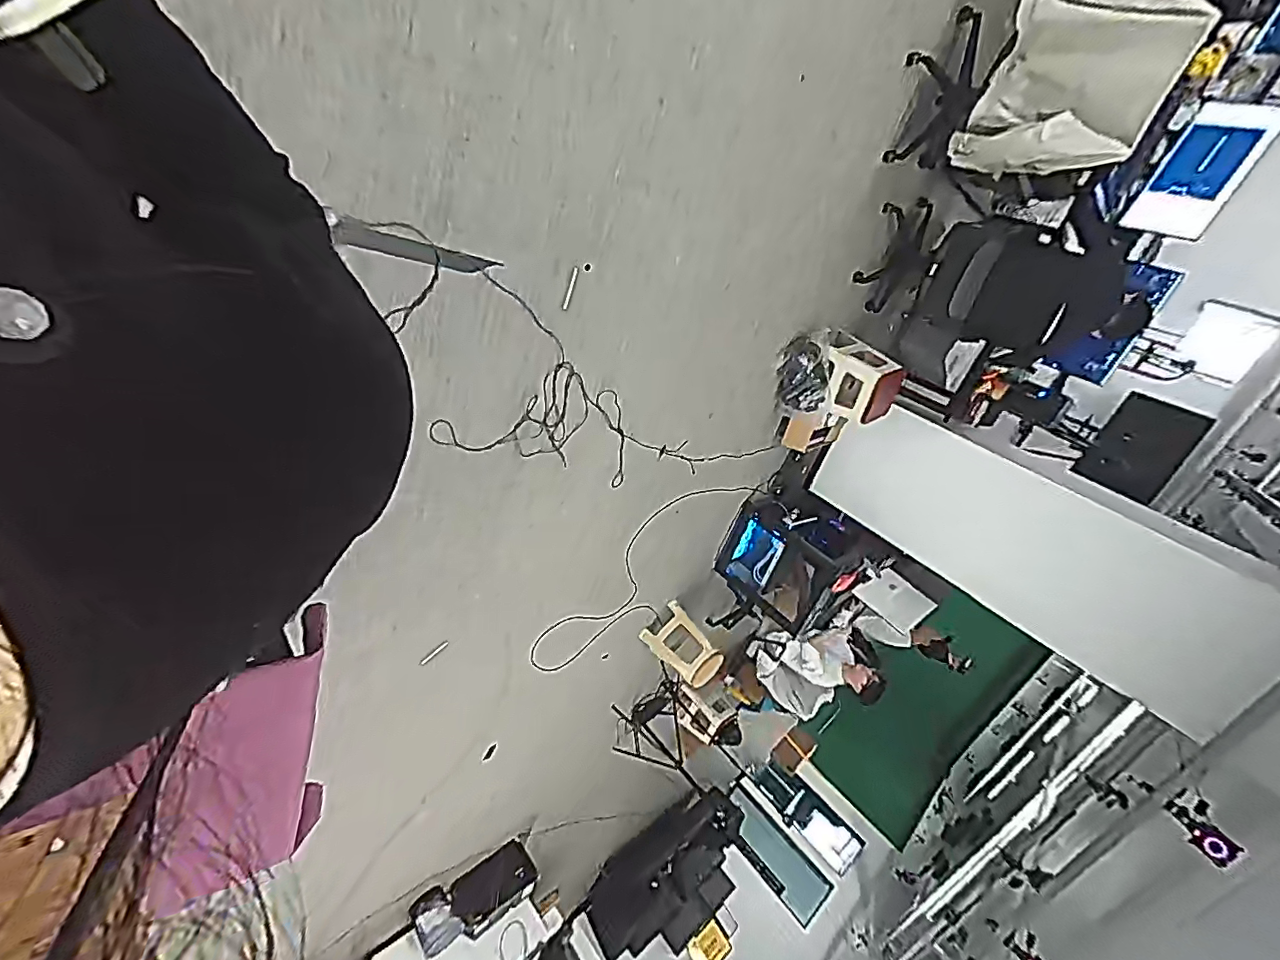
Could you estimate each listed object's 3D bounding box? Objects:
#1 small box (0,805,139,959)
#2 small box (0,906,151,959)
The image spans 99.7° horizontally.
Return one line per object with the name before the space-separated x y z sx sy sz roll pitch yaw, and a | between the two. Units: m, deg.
small box | -0.850 0.626 0.786 0.168 0.176 0.179 -4 123 -48
small box | -0.743 0.710 0.695 0.168 0.176 0.179 -3 124 -48
